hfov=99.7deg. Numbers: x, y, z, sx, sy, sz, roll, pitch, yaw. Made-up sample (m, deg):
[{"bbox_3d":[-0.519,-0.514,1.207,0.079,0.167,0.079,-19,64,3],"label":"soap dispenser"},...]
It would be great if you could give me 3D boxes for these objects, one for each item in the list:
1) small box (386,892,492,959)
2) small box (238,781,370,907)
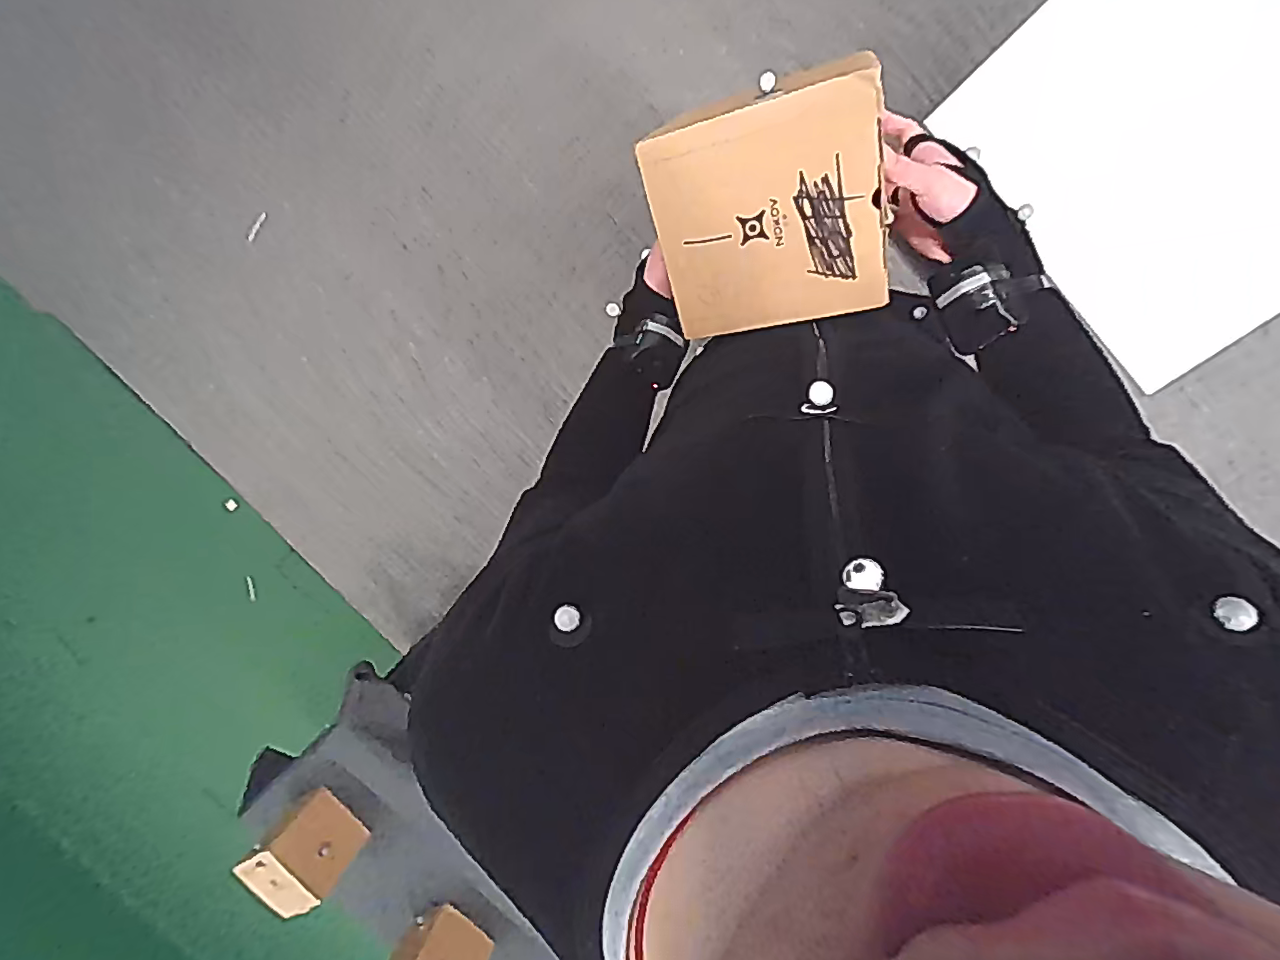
[{"bbox_3d":[-0.507,1.192,1.357,0.168,0.176,0.179,-42,95,22],"label":"small box"},{"bbox_3d":[-0.797,0.870,1.302,0.168,0.176,0.179,-34,100,22],"label":"small box"}]
